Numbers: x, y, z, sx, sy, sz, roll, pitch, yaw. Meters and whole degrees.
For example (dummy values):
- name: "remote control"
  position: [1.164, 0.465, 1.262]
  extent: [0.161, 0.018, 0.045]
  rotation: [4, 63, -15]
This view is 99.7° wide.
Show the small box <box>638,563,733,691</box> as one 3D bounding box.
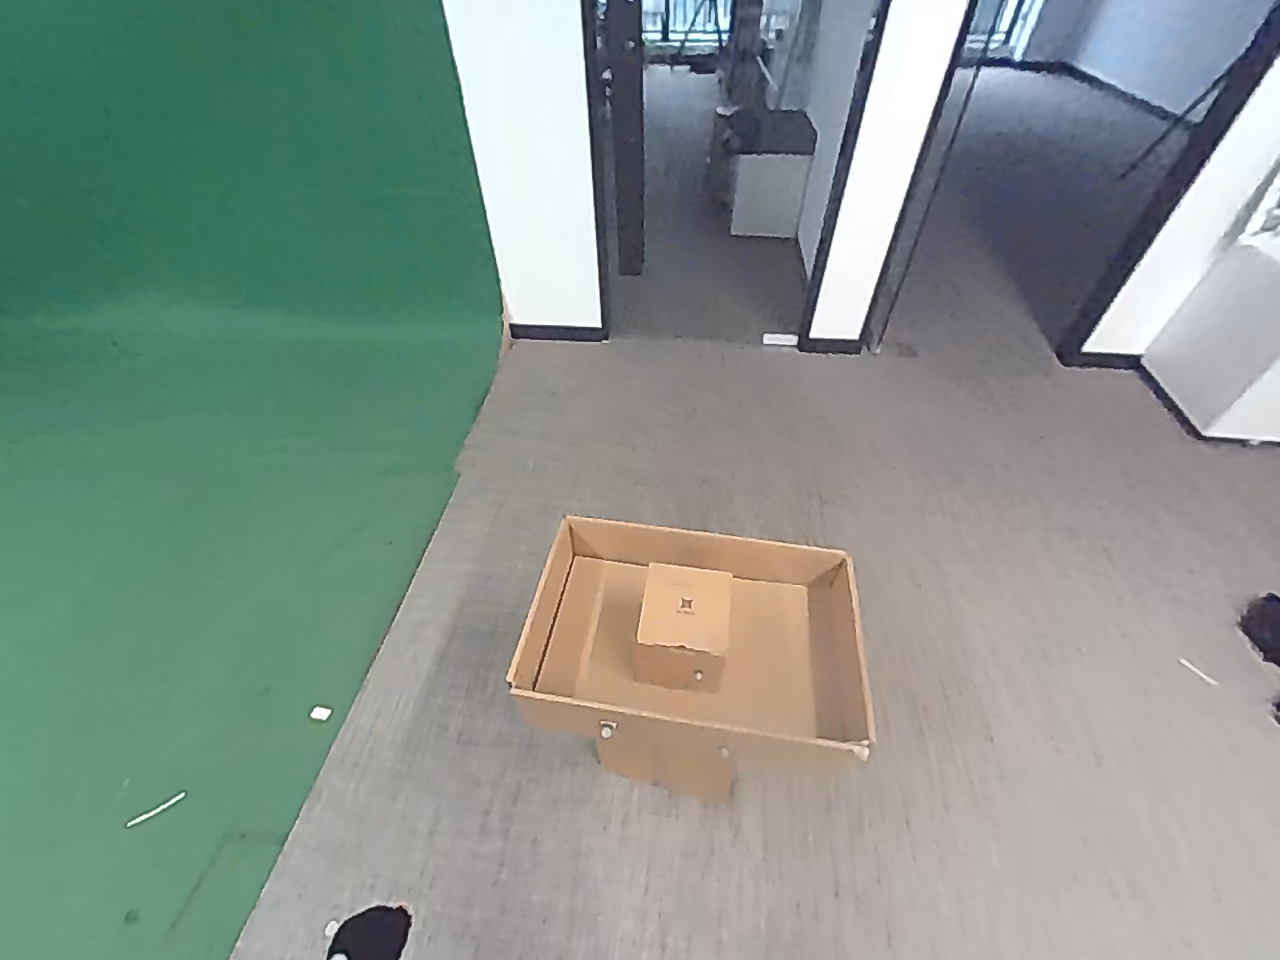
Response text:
- name: "small box"
  position: [0.089, 0.291, 1.063]
  extent: [0.168, 0.176, 0.179]
  rotation: [7, 44, 5]
